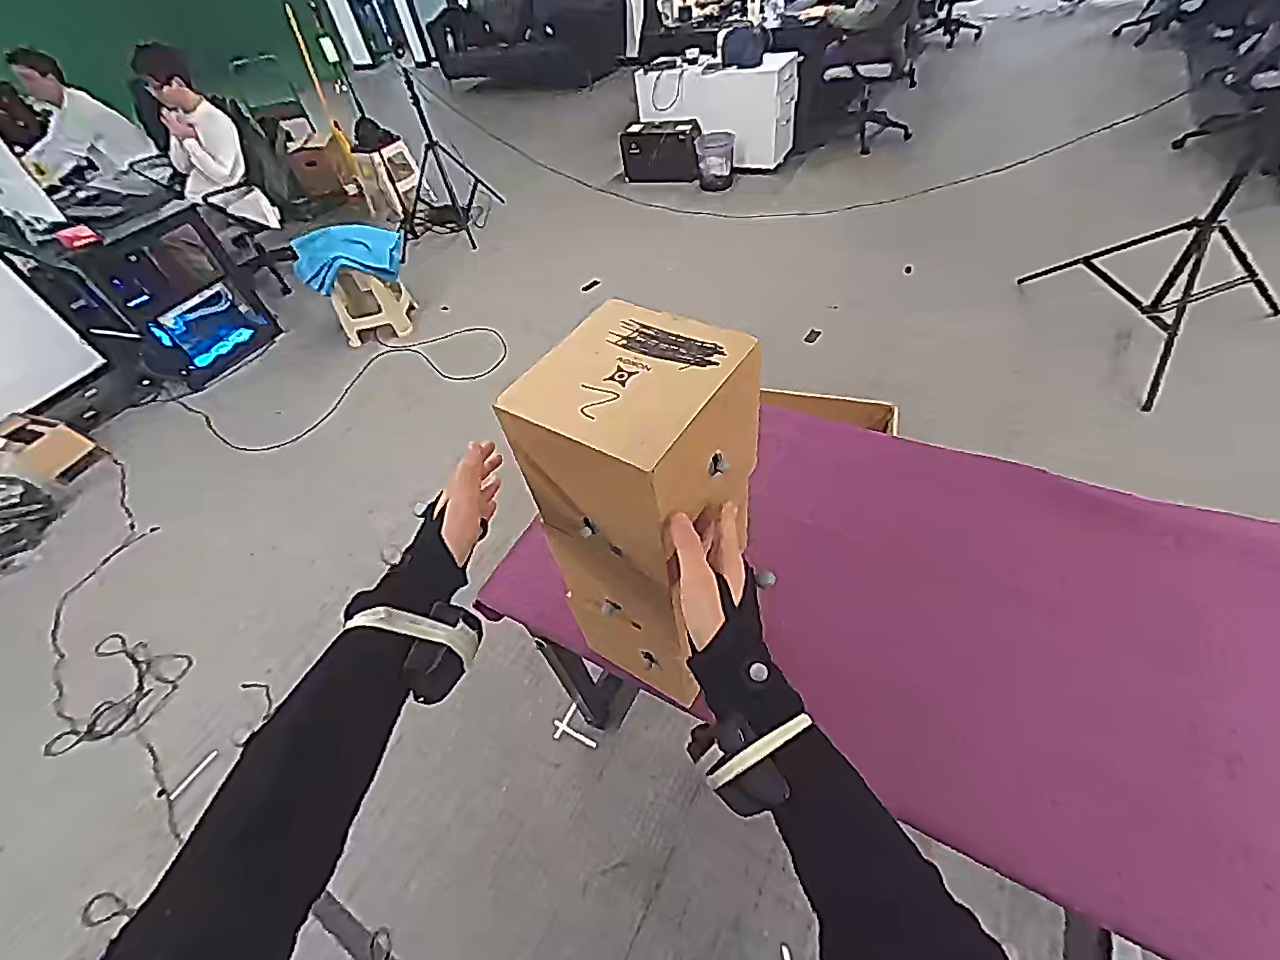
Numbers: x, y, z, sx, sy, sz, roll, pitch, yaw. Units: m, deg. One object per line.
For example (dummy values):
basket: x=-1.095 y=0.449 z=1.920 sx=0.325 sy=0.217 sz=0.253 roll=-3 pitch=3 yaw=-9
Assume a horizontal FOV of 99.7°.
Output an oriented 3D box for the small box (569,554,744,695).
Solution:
small box: x=0.033 y=0.176 z=0.760 sx=0.179 sy=0.176 sz=0.168 roll=22 pitch=56 yaw=27

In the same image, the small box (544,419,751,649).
small box: x=0.018 y=0.063 z=0.641 sx=0.168 sy=0.176 sz=0.179 roll=22 pitch=57 yaw=26
